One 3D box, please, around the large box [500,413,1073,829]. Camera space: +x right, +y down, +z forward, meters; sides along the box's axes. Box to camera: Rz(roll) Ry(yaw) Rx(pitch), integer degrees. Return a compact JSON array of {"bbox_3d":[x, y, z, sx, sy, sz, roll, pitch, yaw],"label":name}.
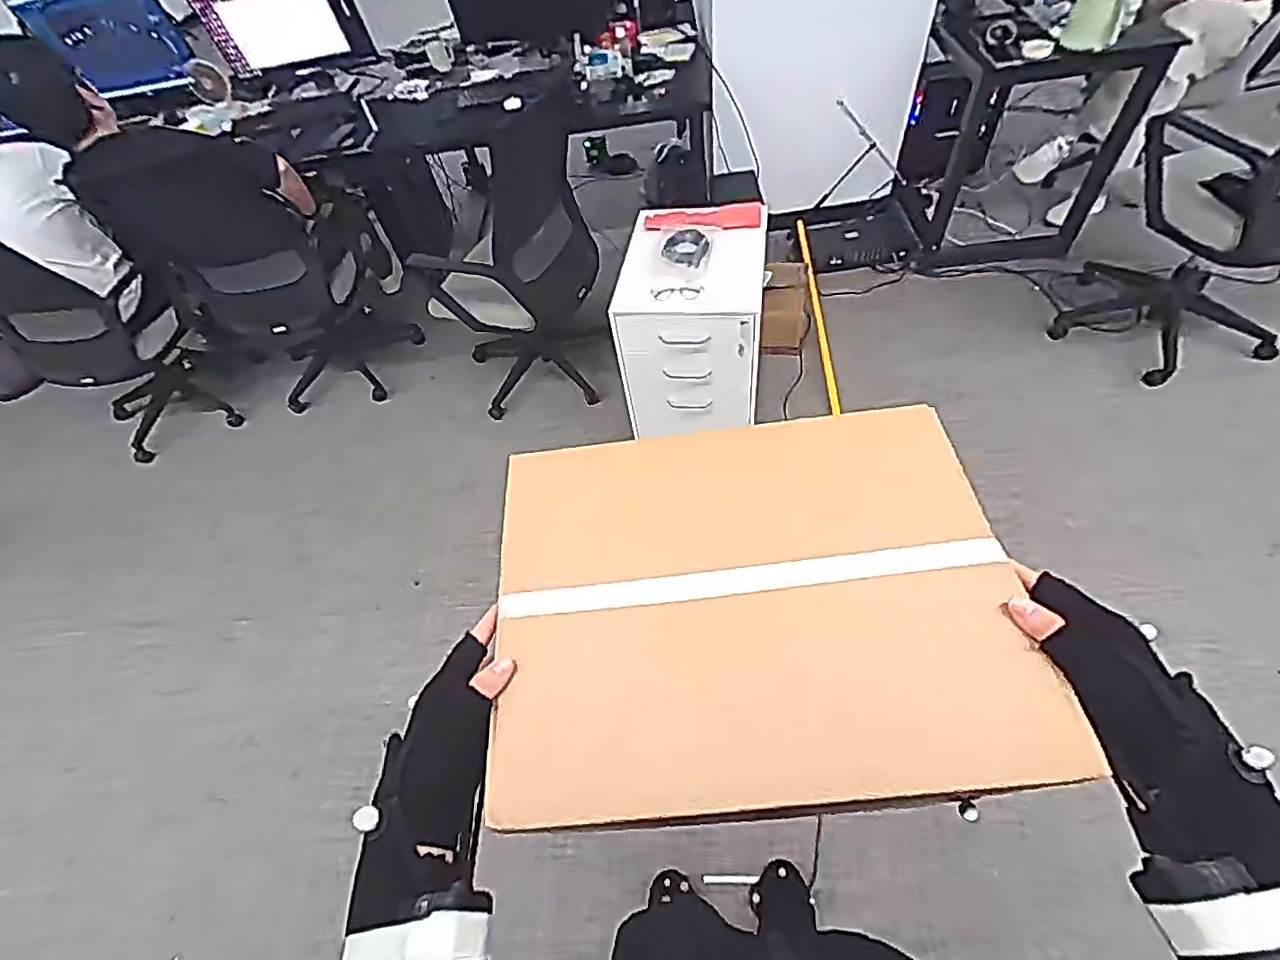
[{"bbox_3d":[0.103,0.168,0.575,0.408,0.320,0.320,-8,56,3],"label":"large box"}]
